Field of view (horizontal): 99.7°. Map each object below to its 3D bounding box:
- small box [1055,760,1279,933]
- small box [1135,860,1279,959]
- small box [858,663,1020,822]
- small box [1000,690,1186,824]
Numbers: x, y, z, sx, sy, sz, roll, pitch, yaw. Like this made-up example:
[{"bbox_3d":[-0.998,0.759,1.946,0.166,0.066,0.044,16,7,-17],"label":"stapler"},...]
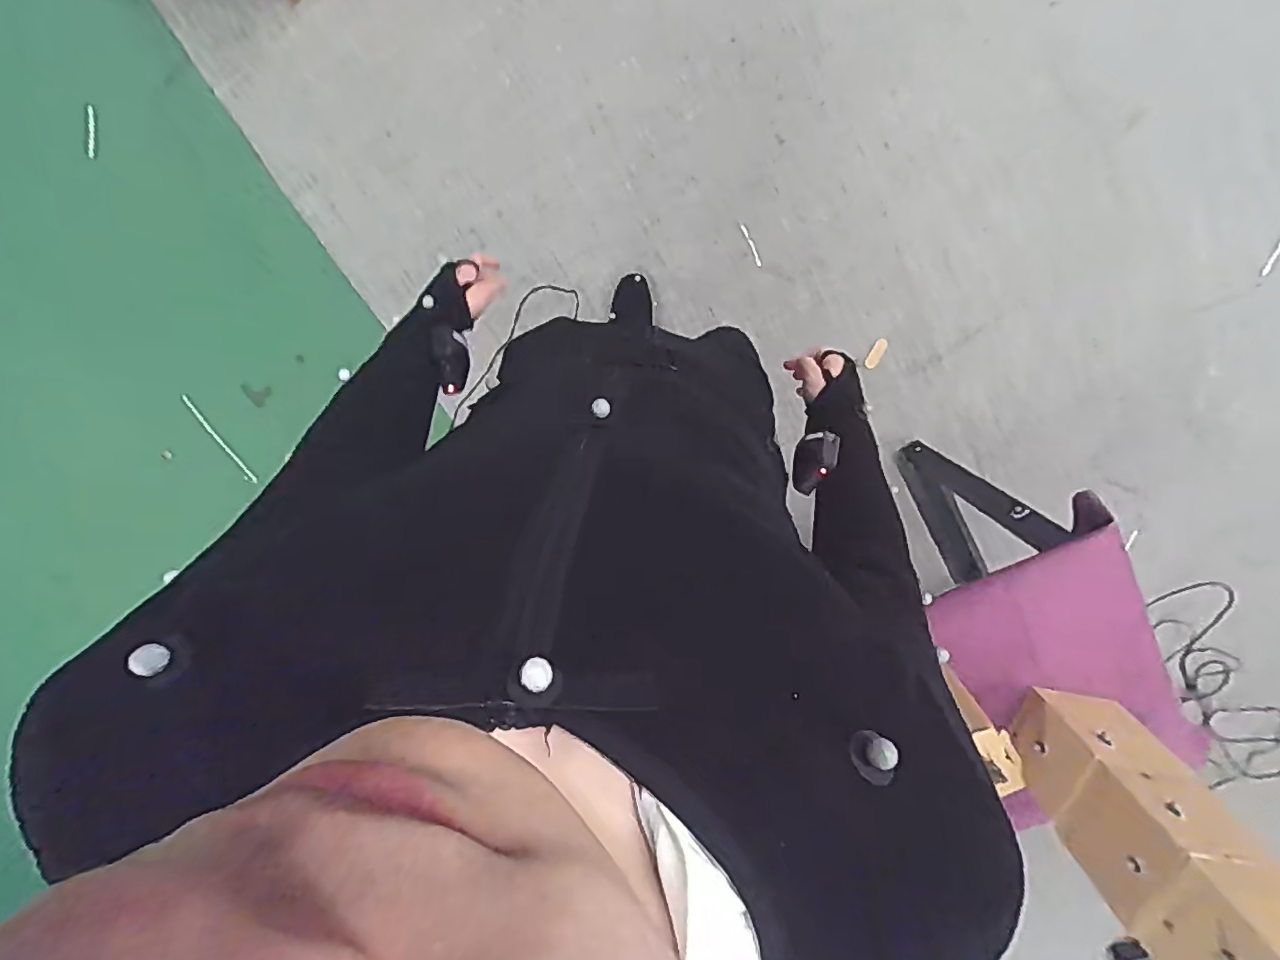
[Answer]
[{"bbox_3d":[0.817,0.581,0.857,0.168,0.176,0.179,11,110,-2],"label":"small box"},{"bbox_3d":[0.820,0.636,0.705,0.179,0.176,0.168,9,109,-2],"label":"small box"},{"bbox_3d":[0.536,0.471,0.990,0.179,0.176,0.168,-32,108,12],"label":"small box"},{"bbox_3d":[0.821,0.519,1.007,0.179,0.176,0.168,11,111,-3],"label":"small box"}]
